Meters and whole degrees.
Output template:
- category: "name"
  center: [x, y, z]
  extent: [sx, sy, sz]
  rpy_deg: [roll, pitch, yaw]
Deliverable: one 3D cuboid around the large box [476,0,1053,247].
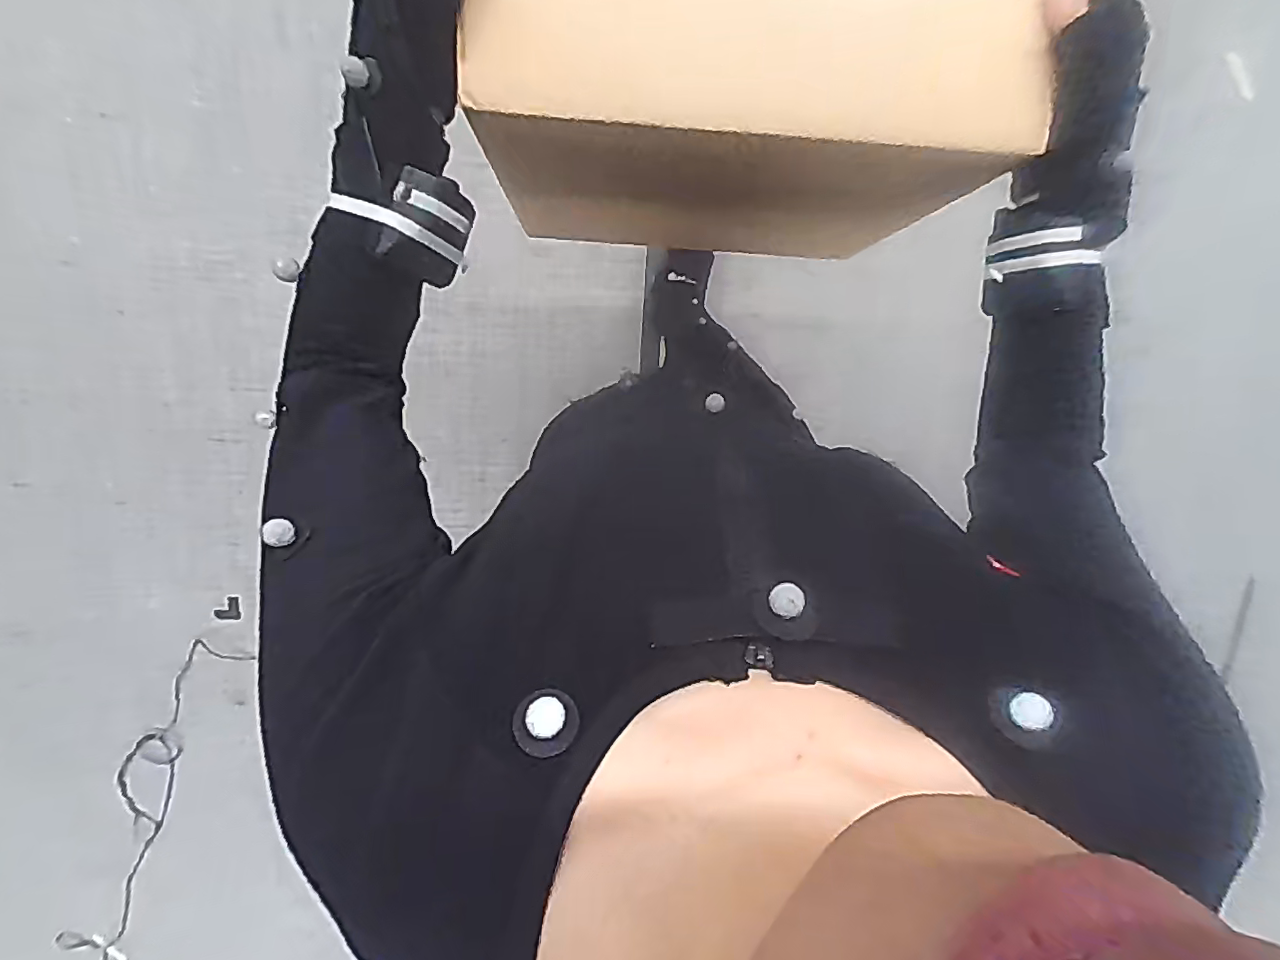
- category: "large box"
  center: [0.079, -0.422, 0.498]
  extent: [0.408, 0.320, 0.320]
  rpy_deg: [1, 100, -5]
